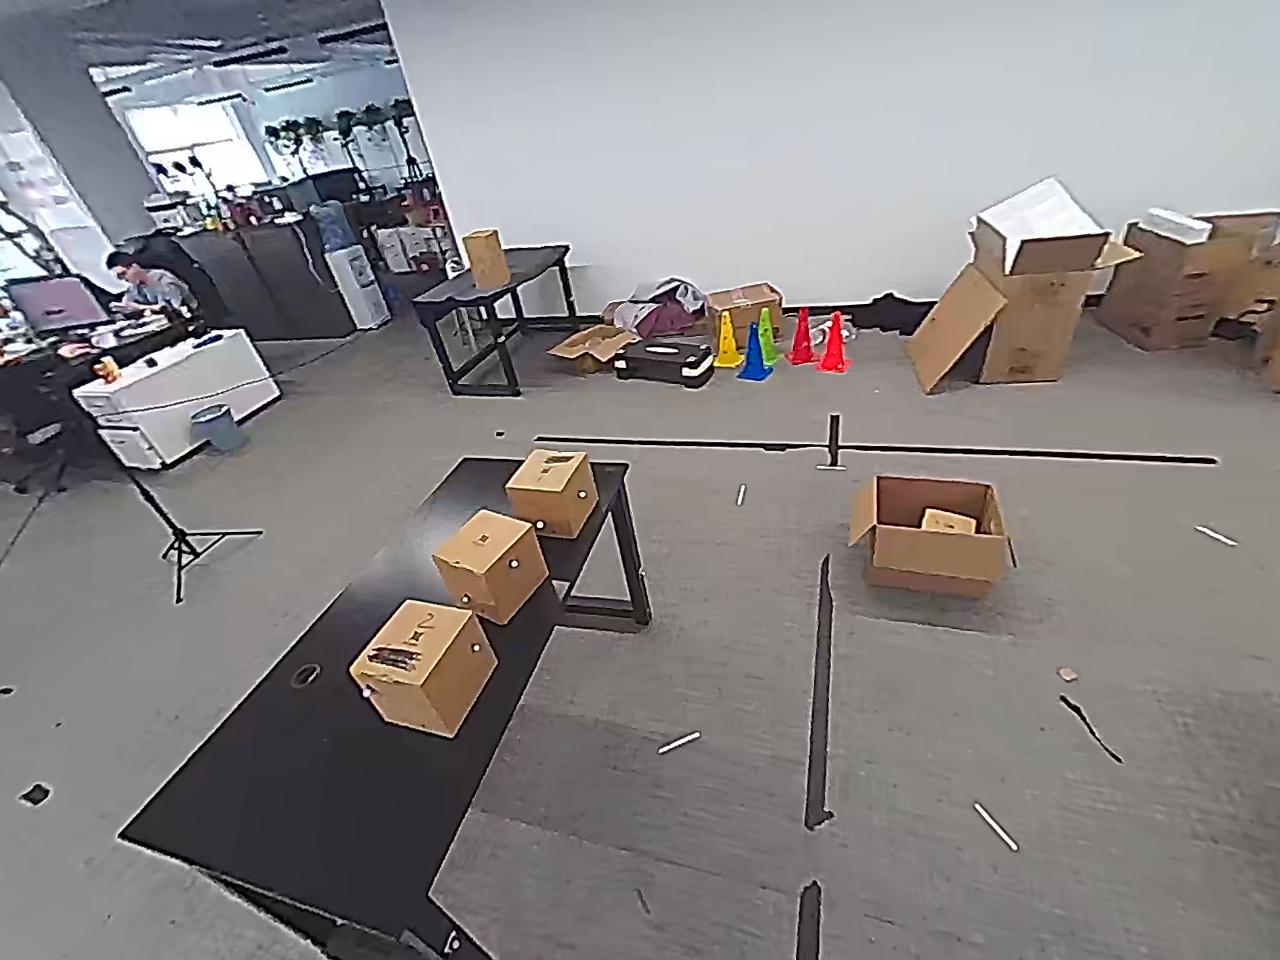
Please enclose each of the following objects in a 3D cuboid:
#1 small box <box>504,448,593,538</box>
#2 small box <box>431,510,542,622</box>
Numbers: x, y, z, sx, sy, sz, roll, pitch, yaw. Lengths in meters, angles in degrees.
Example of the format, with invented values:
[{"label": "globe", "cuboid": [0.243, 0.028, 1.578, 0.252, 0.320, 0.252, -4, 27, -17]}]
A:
[{"label": "small box", "cuboid": [-0.239, 0.034, 1.477, 0.168, 0.176, 0.179, 3, 39, 20]}, {"label": "small box", "cuboid": [-0.351, 0.201, 1.281, 0.168, 0.176, 0.179, 11, 42, 28]}]
